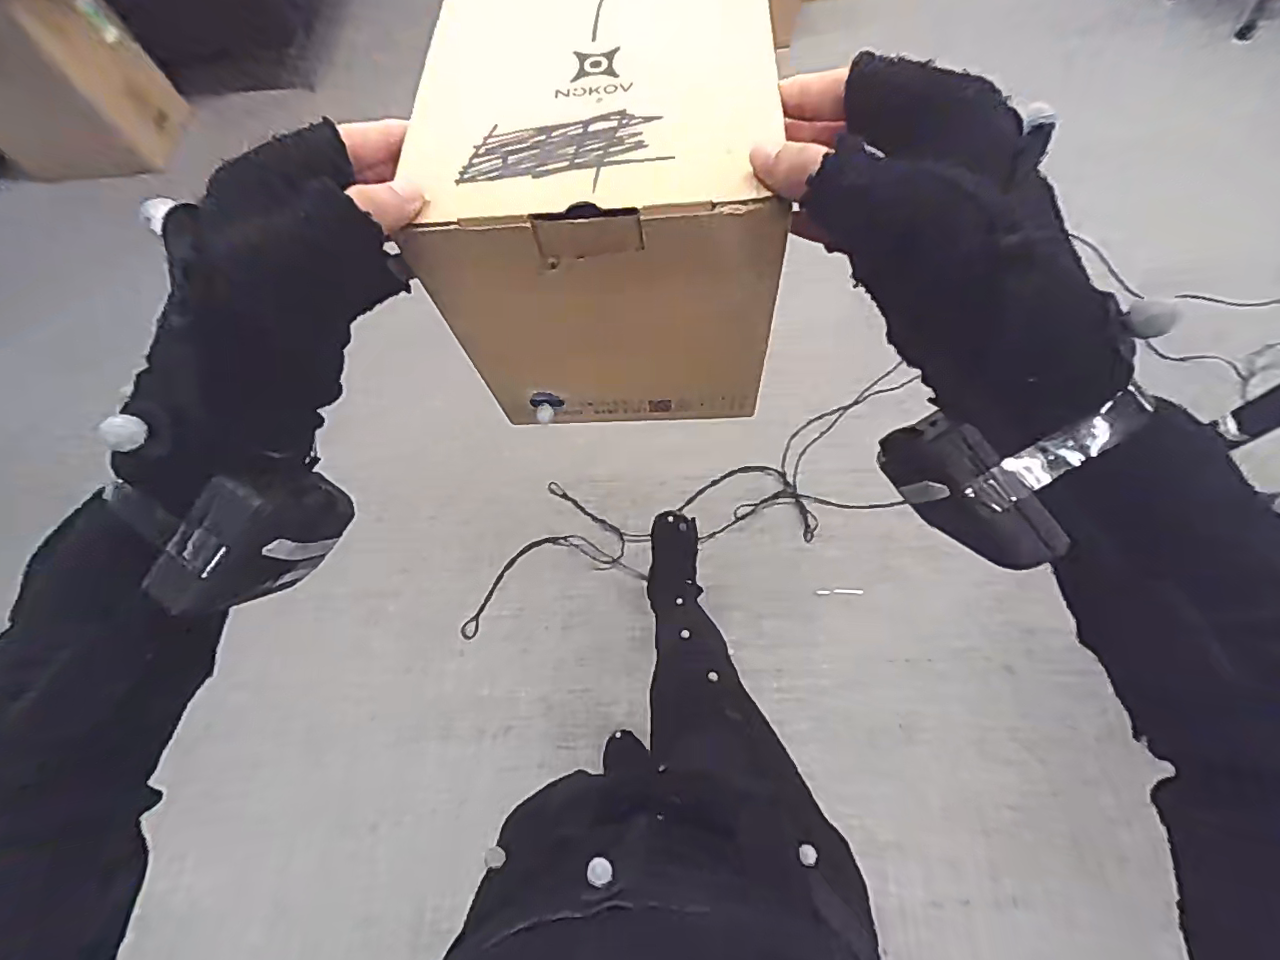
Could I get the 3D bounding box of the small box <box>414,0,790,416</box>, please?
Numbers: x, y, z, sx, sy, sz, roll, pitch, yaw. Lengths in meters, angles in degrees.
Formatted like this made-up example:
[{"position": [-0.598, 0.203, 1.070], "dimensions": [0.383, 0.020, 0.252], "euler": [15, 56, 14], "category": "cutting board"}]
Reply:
[{"position": [-0.008, -0.150, 0.331], "dimensions": [0.168, 0.176, 0.179], "euler": [-1, 66, 5], "category": "small box"}]
